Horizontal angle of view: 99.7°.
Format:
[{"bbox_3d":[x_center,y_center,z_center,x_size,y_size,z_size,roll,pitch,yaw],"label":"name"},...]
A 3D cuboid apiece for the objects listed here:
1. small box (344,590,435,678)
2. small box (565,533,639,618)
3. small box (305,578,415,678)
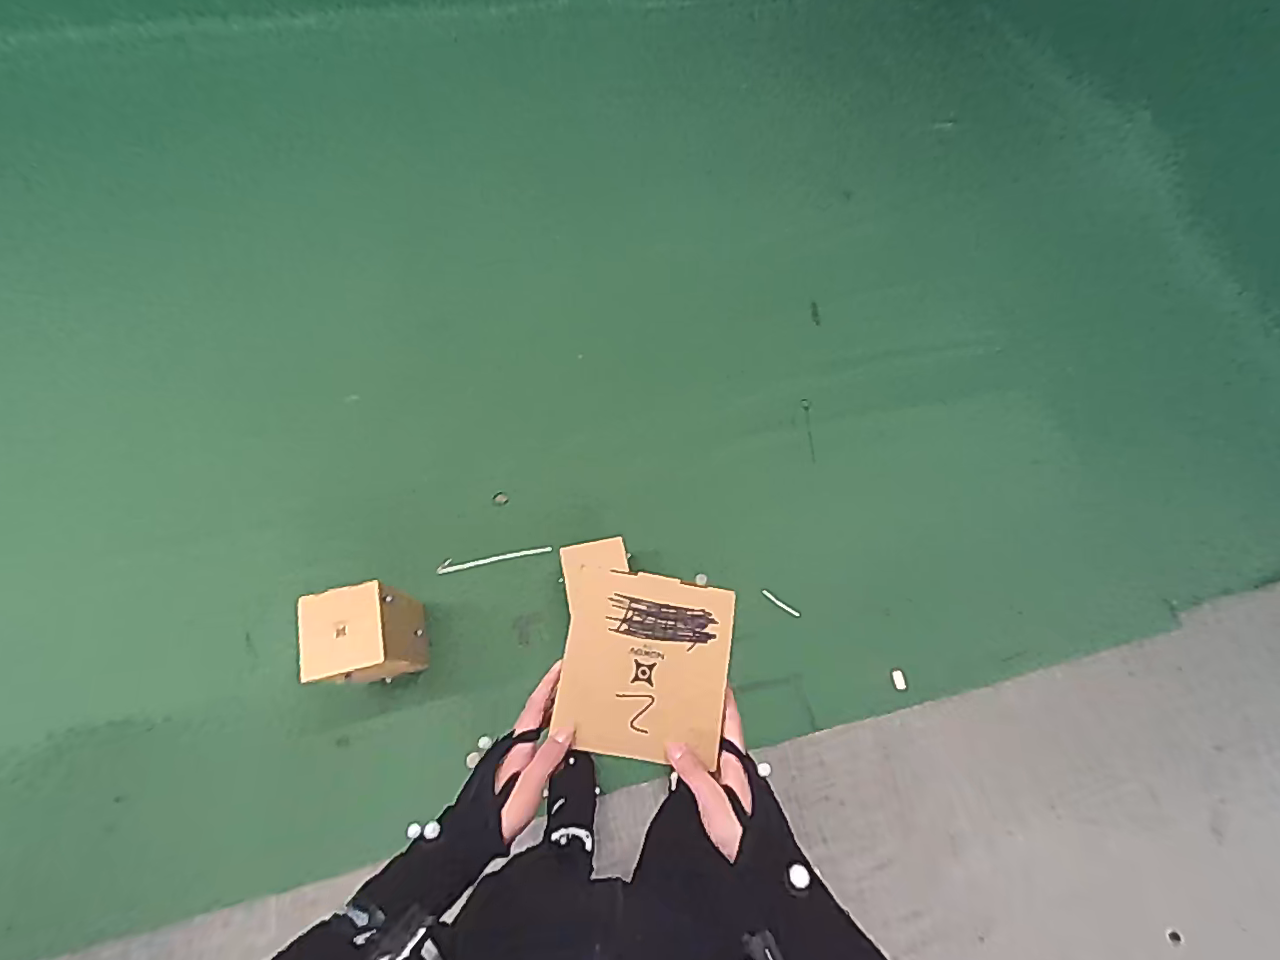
[{"bbox_3d":[-0.630,0.391,1.358,0.168,0.176,0.179,-12,71,-7],"label":"small box"},{"bbox_3d":[-0.104,0.258,1.443,0.168,0.176,0.179,-10,71,-8],"label":"small box"},{"bbox_3d":[-0.617,0.334,1.208,0.168,0.176,0.179,-13,70,-7],"label":"small box"}]
